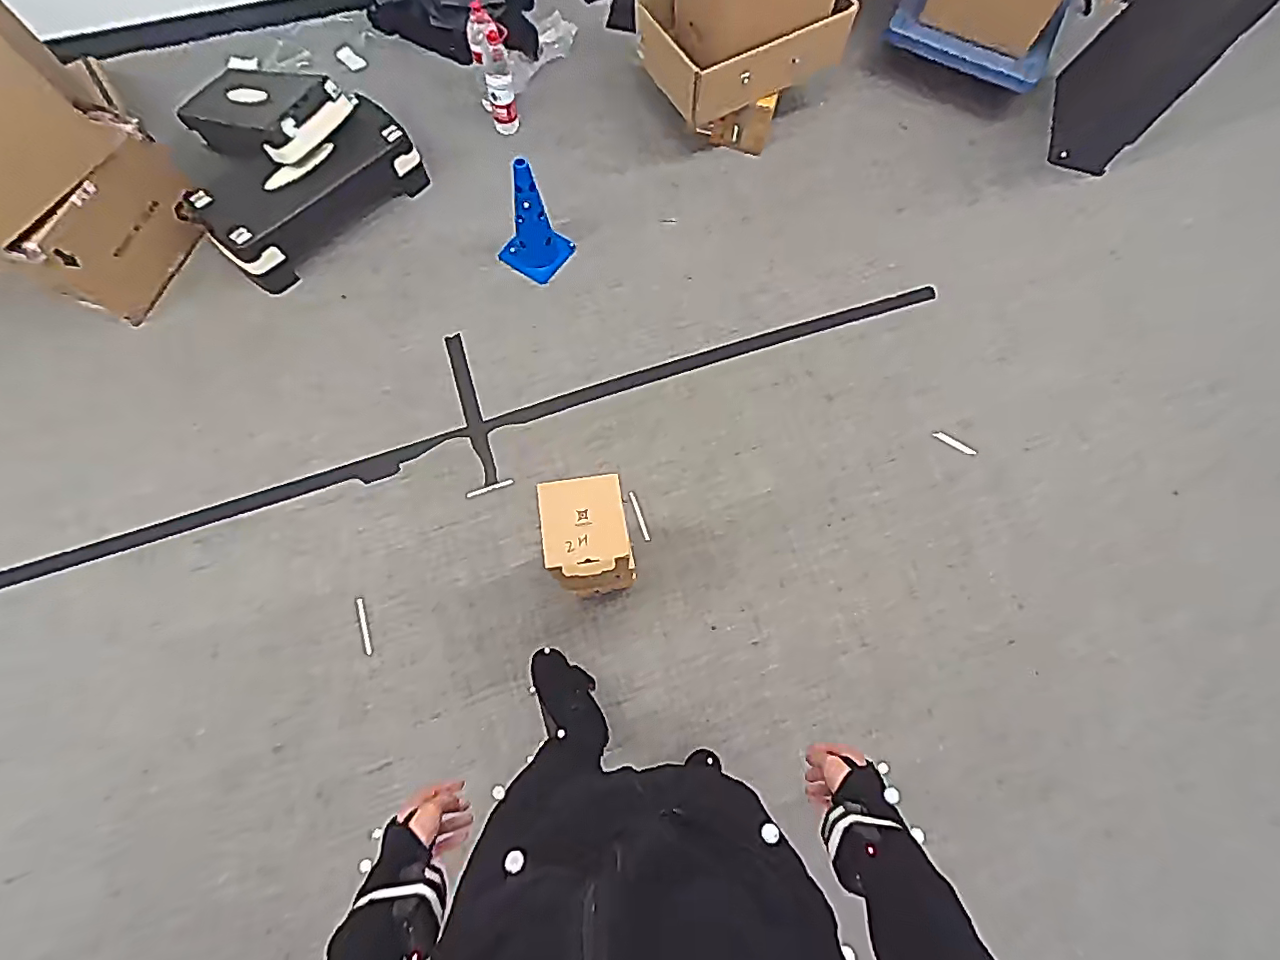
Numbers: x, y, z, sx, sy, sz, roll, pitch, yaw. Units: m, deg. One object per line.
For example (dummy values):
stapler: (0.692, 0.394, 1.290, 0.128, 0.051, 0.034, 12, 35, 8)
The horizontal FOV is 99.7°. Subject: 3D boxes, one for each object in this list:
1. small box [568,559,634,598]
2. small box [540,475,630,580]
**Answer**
small box: (-0.114, 0.213, 1.451, 0.168, 0.176, 0.179, -13, 73, -7)
small box: (-0.116, 0.104, 1.139, 0.168, 0.176, 0.179, -7, 73, -5)
